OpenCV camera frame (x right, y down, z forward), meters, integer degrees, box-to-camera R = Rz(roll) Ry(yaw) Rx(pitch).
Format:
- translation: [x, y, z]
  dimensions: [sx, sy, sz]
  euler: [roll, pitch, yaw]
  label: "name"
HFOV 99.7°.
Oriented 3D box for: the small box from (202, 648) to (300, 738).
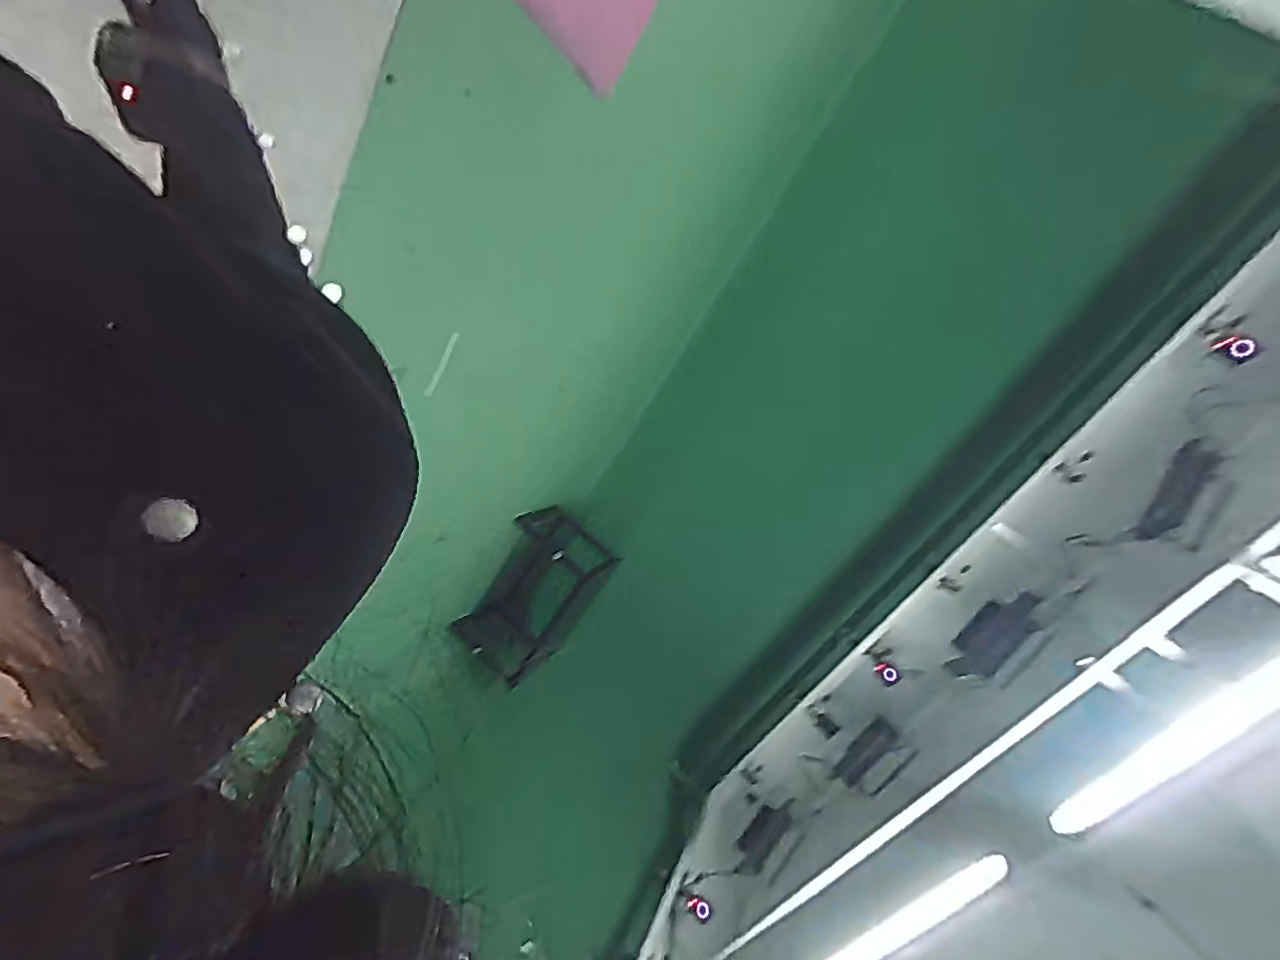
- translation: [-1.195, 0.652, 1.666]
  dimensions: [0.168, 0.176, 0.179]
  euler: [-41, 162, -39]
  label: "small box"
